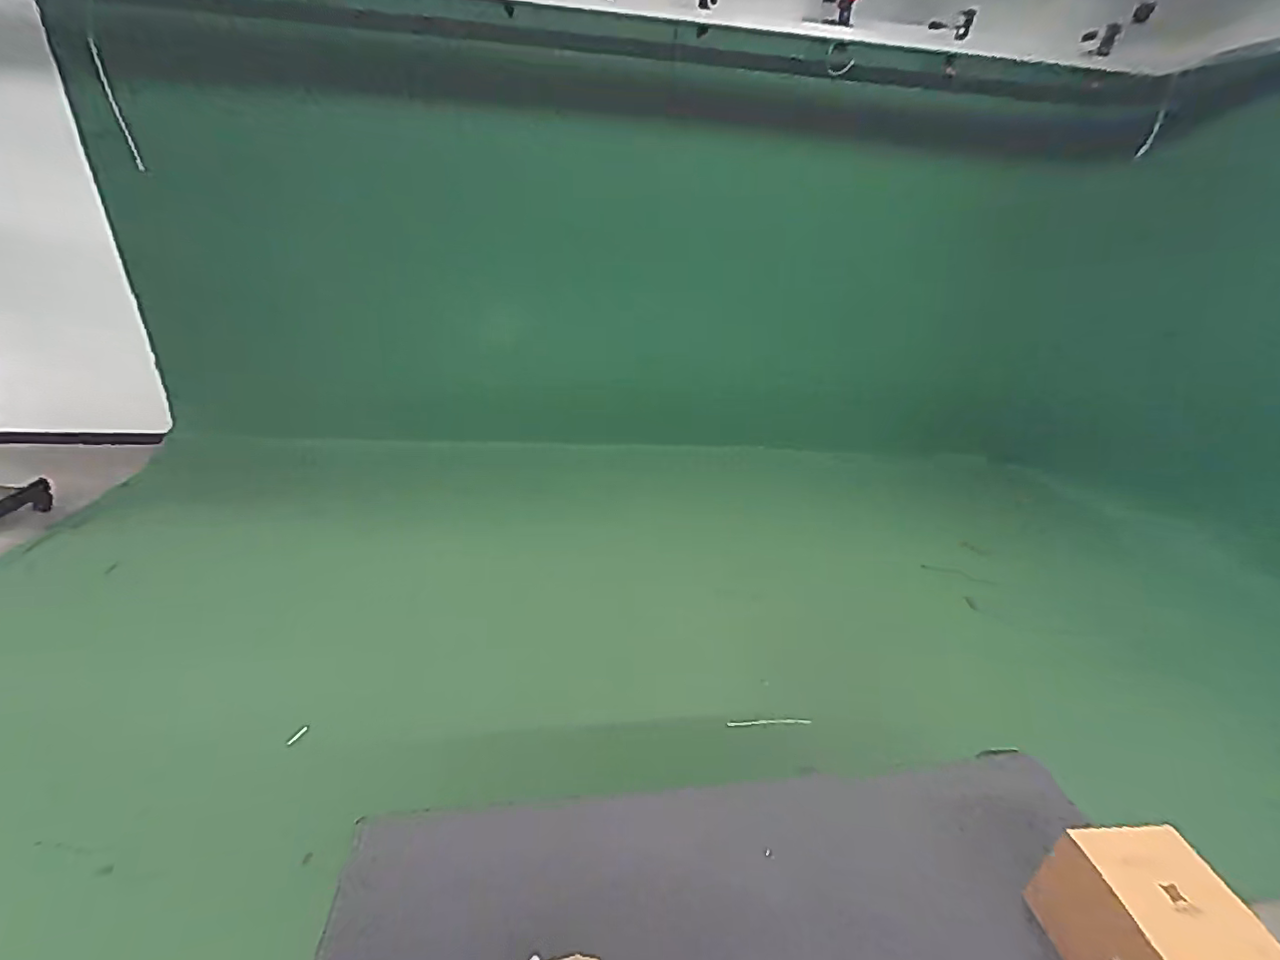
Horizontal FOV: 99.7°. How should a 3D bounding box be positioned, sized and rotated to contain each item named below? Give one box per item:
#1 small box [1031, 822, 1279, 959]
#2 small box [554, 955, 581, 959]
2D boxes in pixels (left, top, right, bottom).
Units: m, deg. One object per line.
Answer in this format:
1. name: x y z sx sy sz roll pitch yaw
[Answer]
1. small box: 0.673 0.592 0.712 0.168 0.176 0.179 2 25 -6
2. small box: -0.115 0.600 0.531 0.168 0.176 0.179 -1 51 -15
